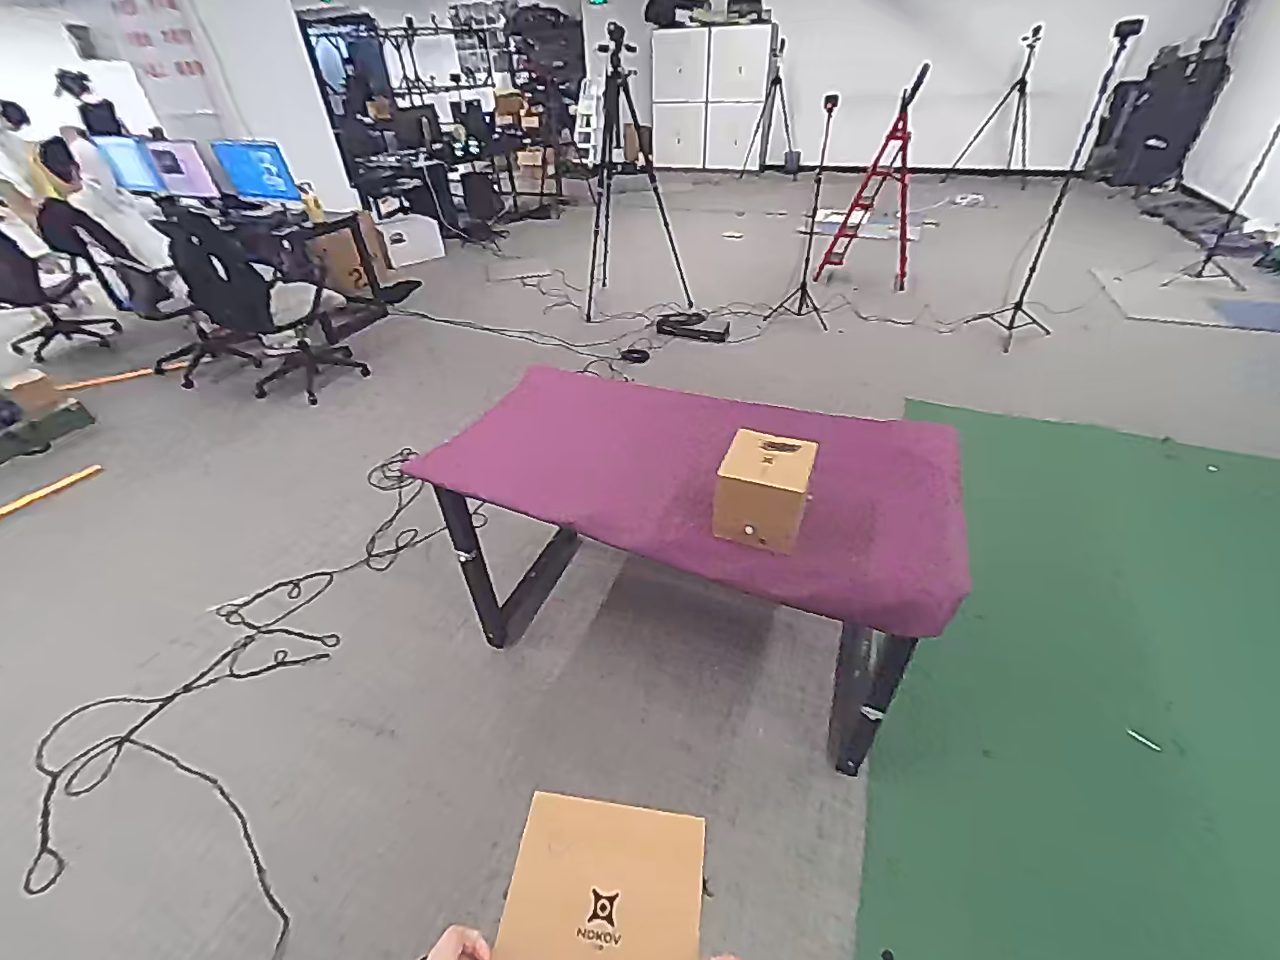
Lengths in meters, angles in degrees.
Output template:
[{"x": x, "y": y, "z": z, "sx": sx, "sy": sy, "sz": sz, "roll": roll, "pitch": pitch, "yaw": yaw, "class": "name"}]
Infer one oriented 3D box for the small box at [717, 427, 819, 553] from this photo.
[{"x": 0.260, "y": 0.018, "z": 1.115, "sx": 0.168, "sy": 0.176, "sz": 0.179, "roll": 13, "pitch": 41, "yaw": 19, "class": "small box"}]
